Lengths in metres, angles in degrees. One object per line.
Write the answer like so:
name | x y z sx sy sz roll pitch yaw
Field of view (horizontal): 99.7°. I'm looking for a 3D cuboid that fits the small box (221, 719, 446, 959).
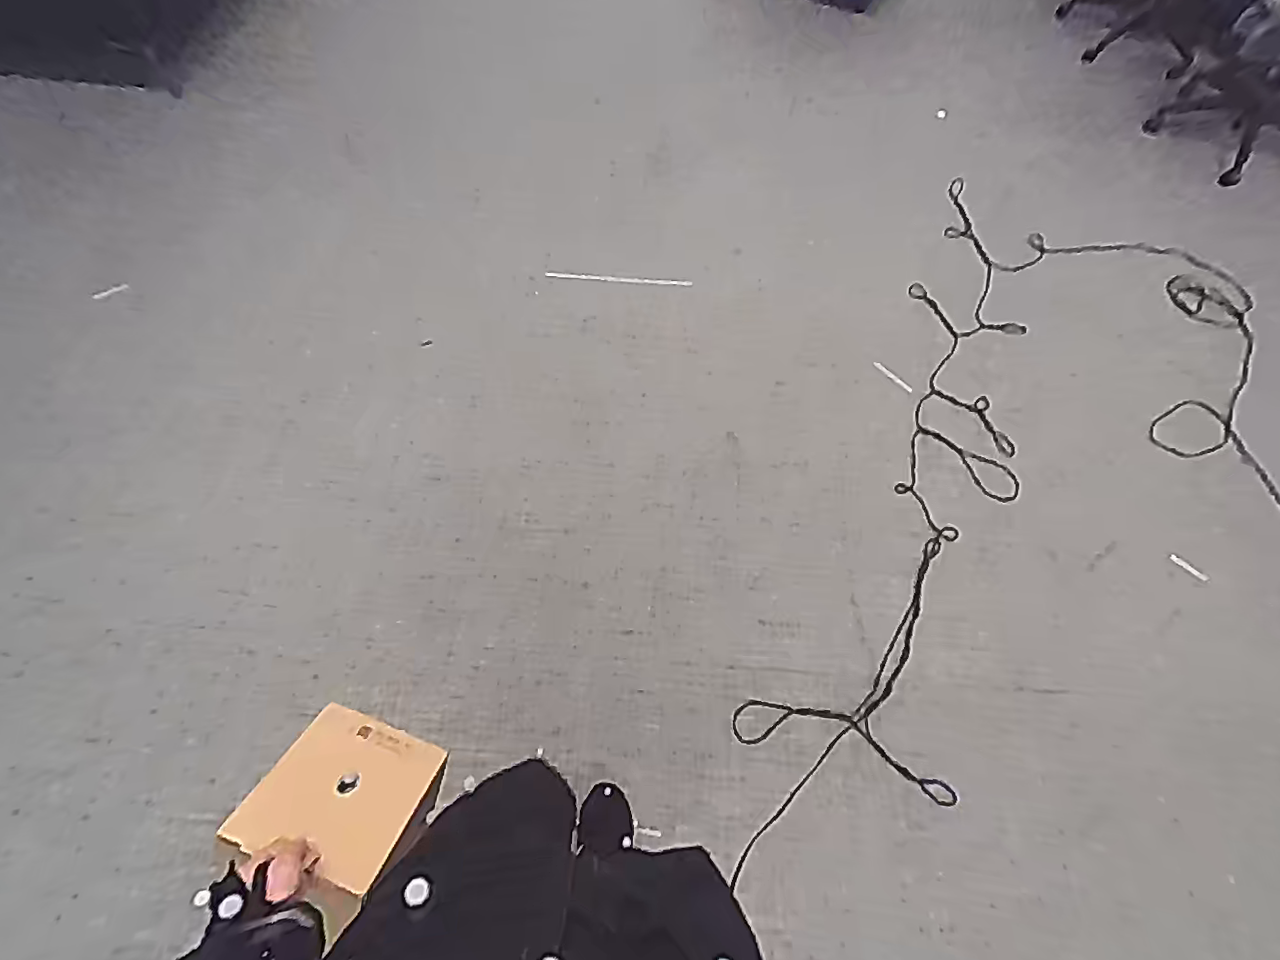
small box | -0.354 0.425 0.647 0.168 0.179 0.176 22 29 0
